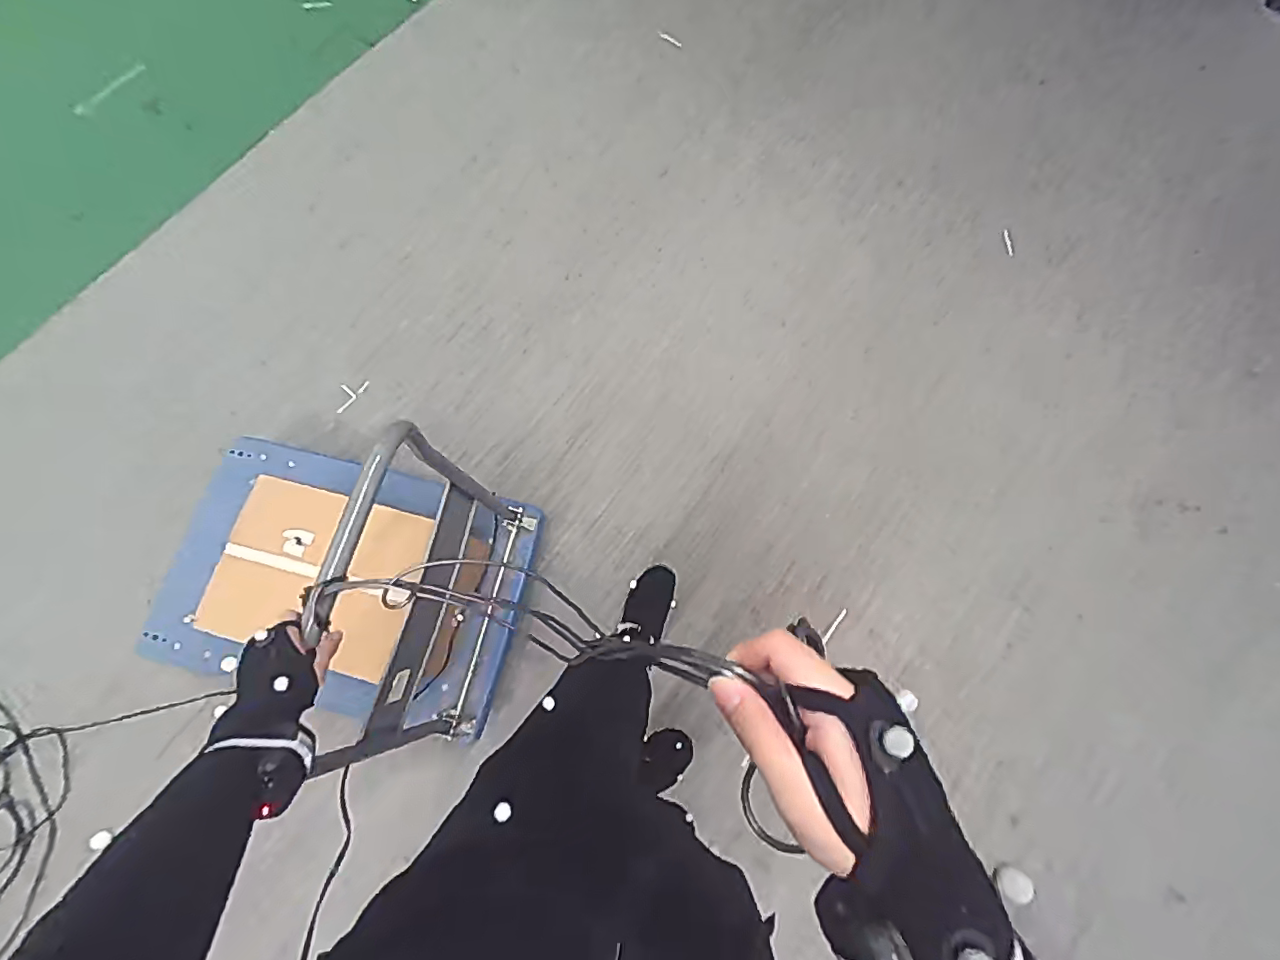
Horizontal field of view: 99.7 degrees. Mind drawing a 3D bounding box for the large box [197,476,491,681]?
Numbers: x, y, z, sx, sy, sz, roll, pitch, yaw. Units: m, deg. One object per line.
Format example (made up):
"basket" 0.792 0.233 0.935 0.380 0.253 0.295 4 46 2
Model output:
"large box" -0.591 0.214 1.164 0.408 0.320 0.320 13 75 6
